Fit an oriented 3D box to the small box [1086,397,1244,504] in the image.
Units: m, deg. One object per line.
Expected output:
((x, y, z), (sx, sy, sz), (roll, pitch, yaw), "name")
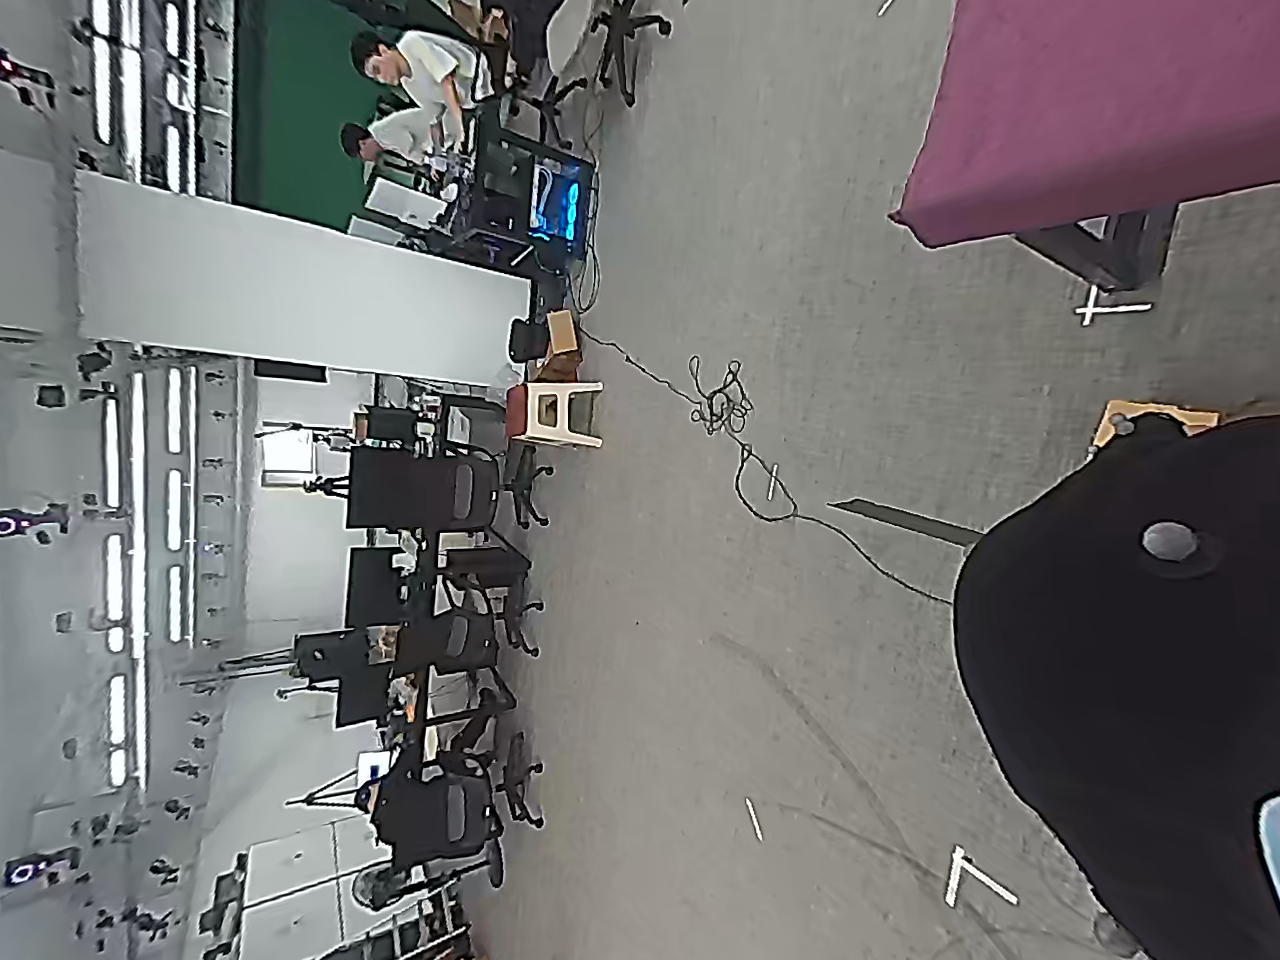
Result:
((1.052, -0.060, 1.085), (0.168, 0.176, 0.179), (30, 113, 54), "small box")
